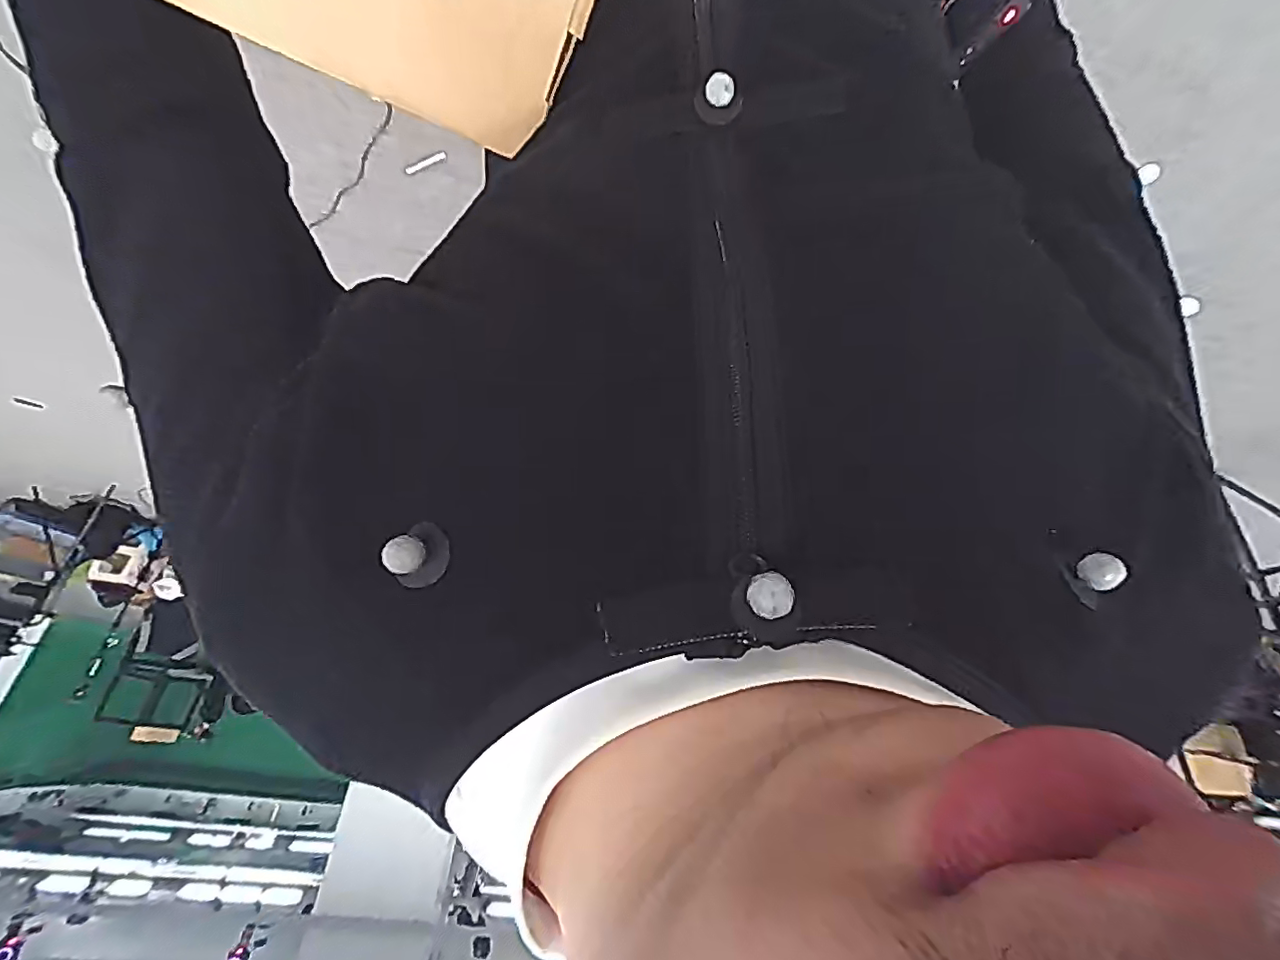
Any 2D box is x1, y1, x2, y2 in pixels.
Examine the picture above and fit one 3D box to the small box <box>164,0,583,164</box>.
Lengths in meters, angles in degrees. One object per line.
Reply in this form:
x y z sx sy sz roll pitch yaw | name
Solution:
-0.122 -0.297 0.273 0.179 0.176 0.168 11 124 -27 | small box
